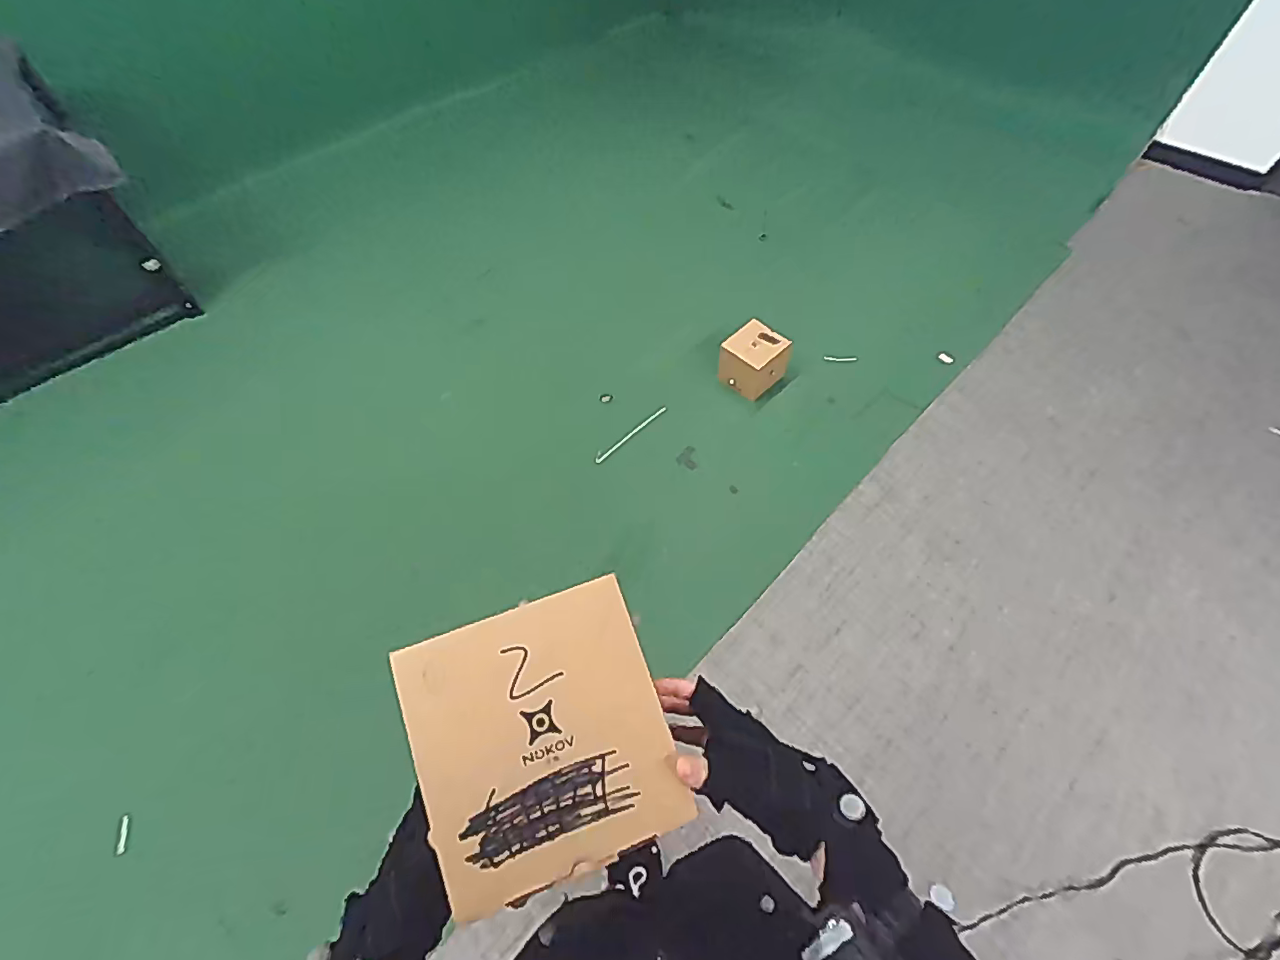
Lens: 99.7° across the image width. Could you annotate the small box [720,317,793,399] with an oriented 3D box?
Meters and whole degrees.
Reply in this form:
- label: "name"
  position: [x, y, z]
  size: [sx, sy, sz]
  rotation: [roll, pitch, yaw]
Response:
- label: "small box"
  position: [0.388, -0.412, 1.836]
  size: [0.179, 0.176, 0.168]
  rotation: [-40, 65, -20]
